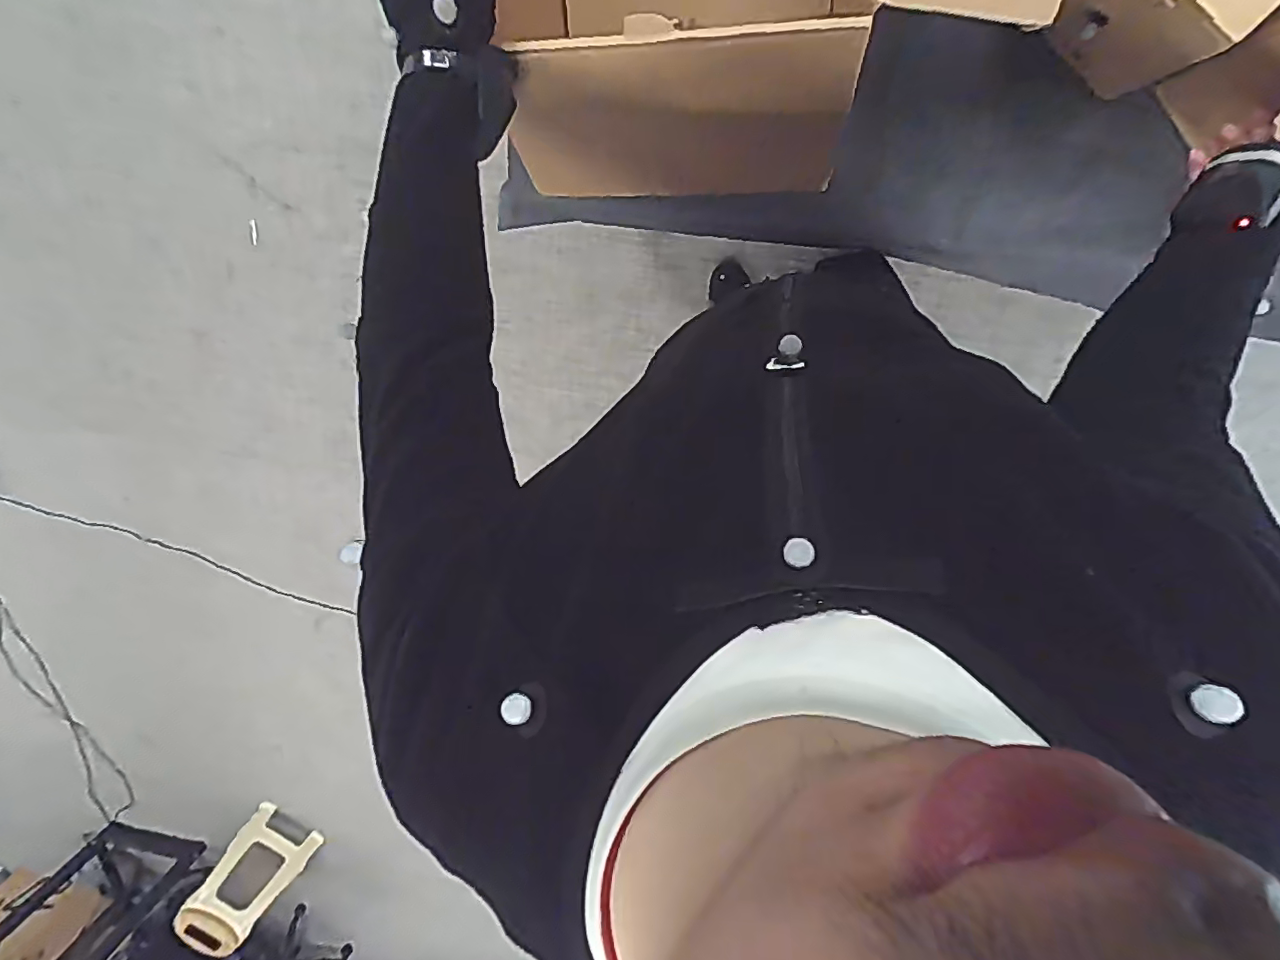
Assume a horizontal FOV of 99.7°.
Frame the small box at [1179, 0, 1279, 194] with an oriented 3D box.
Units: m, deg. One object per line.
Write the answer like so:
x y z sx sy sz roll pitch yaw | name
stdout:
0.657 -0.391 0.488 0.179 0.176 0.168 -41 100 22 | small box
